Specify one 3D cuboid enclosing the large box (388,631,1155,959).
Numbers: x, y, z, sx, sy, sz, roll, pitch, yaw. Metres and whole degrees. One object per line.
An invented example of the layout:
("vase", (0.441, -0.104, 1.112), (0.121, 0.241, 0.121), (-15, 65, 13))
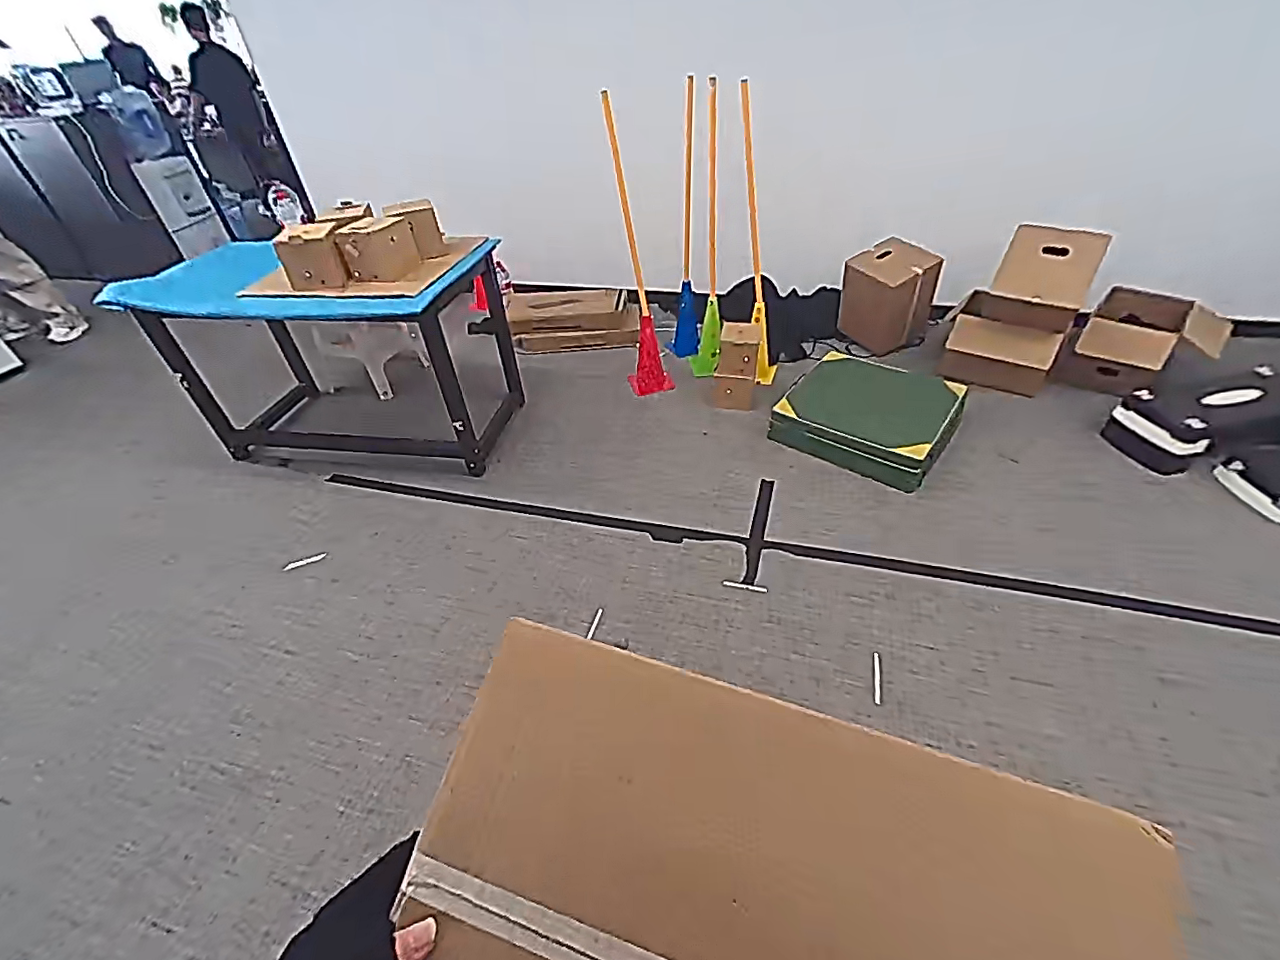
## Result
("large box", (0.068, 0.349, 0.425), (0.408, 0.320, 0.320), (14, 67, 13))
